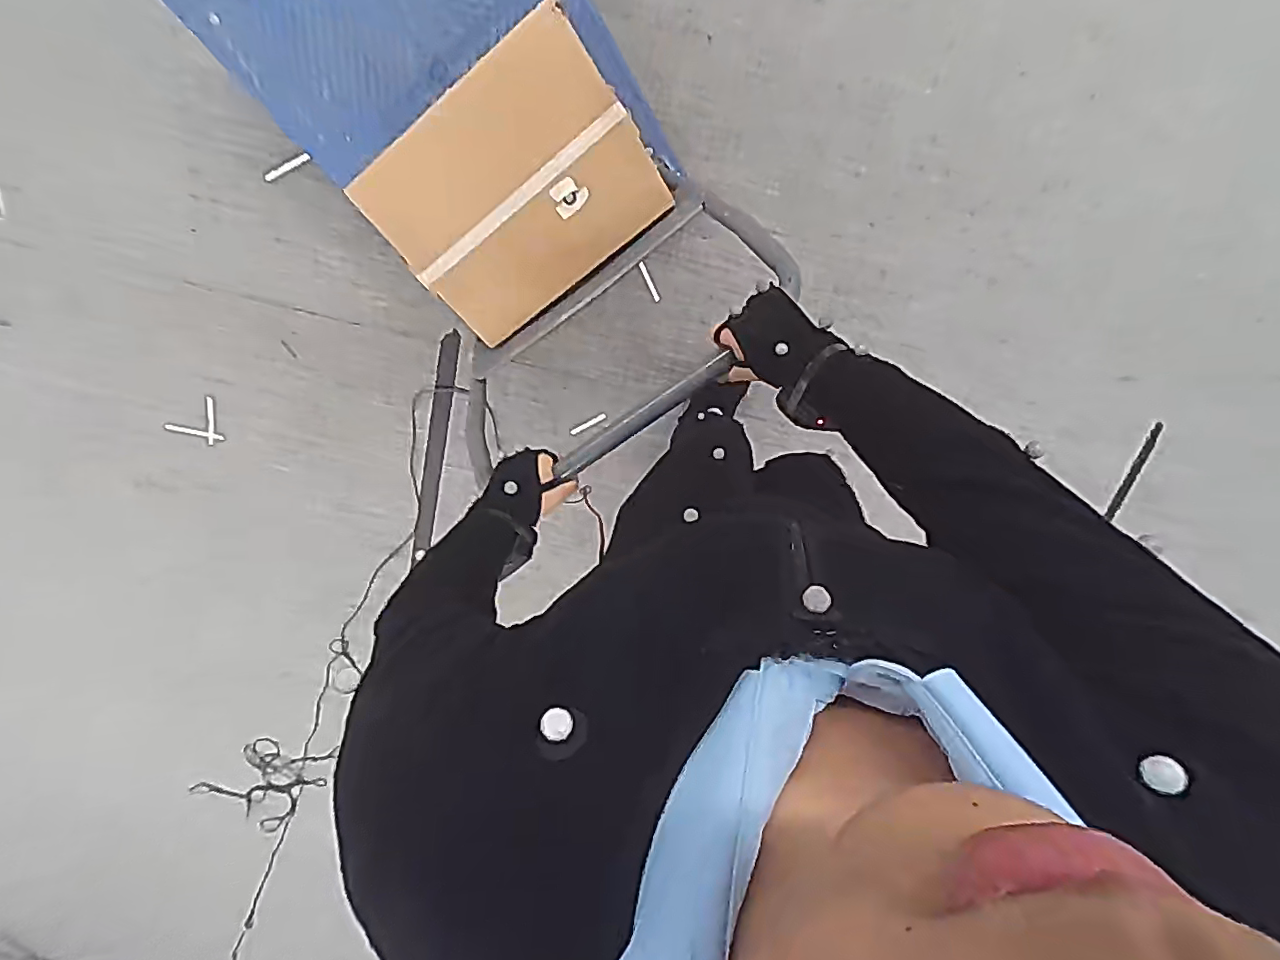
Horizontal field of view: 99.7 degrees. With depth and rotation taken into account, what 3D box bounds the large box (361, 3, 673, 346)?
[{"bbox_3d":[-0.212,-0.524,0.982,0.408,0.320,0.320,-36,123,12],"label":"large box"}]
